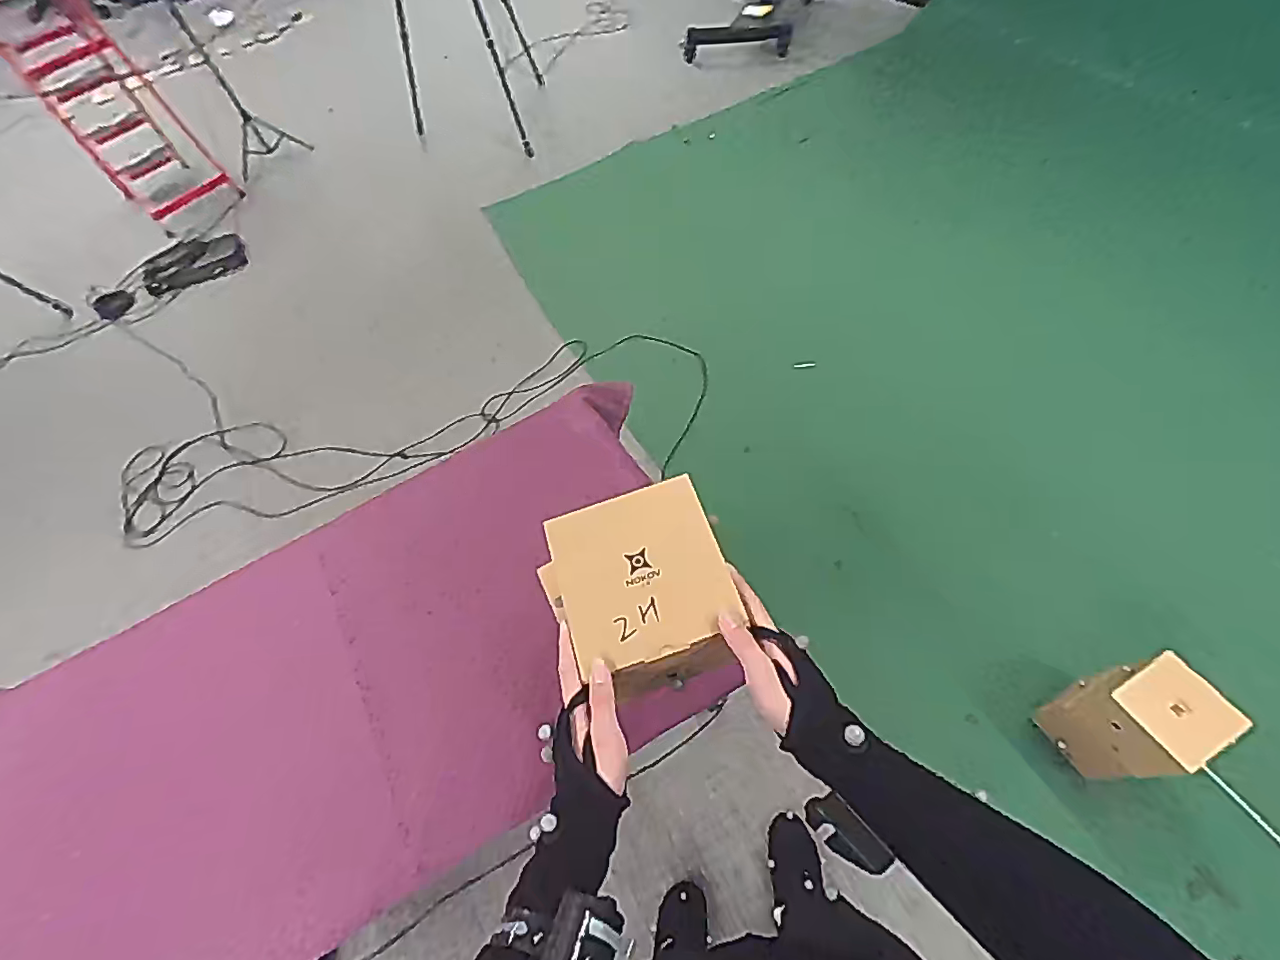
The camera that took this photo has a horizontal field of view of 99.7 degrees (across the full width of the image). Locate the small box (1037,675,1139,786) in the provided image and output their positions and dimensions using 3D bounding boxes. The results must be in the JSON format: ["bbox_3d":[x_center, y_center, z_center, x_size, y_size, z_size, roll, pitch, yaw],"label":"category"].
[{"bbox_3d":[1.087,0.585,1.260,0.179,0.176,0.168,-30,59,-9],"label":"small box"}]

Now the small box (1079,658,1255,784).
[{"bbox_3d":[1.070,0.504,1.122,0.179,0.176,0.168,-29,58,-11],"label":"small box"}]

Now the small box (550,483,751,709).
[{"bbox_3d":[0.012,0.135,0.604,0.168,0.176,0.179,-18,60,-2],"label":"small box"}]
